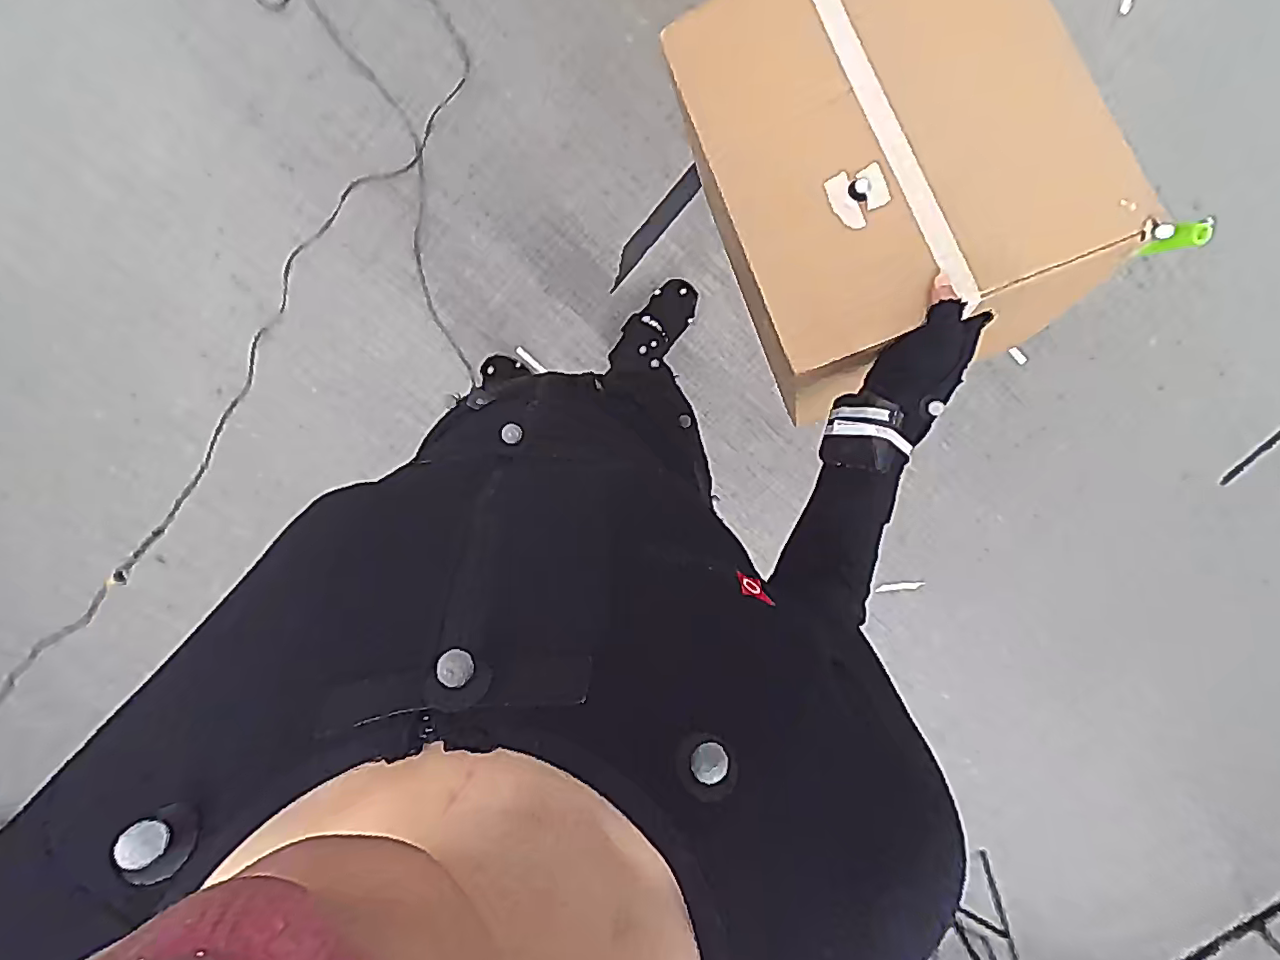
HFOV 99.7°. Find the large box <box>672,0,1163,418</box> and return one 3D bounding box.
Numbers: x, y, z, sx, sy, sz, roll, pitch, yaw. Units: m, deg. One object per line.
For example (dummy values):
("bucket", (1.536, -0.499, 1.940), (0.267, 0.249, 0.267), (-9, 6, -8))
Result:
("large box", (0.272, -0.332, 0.653), (0.320, 0.320, 0.408), (-21, 82, 15))
